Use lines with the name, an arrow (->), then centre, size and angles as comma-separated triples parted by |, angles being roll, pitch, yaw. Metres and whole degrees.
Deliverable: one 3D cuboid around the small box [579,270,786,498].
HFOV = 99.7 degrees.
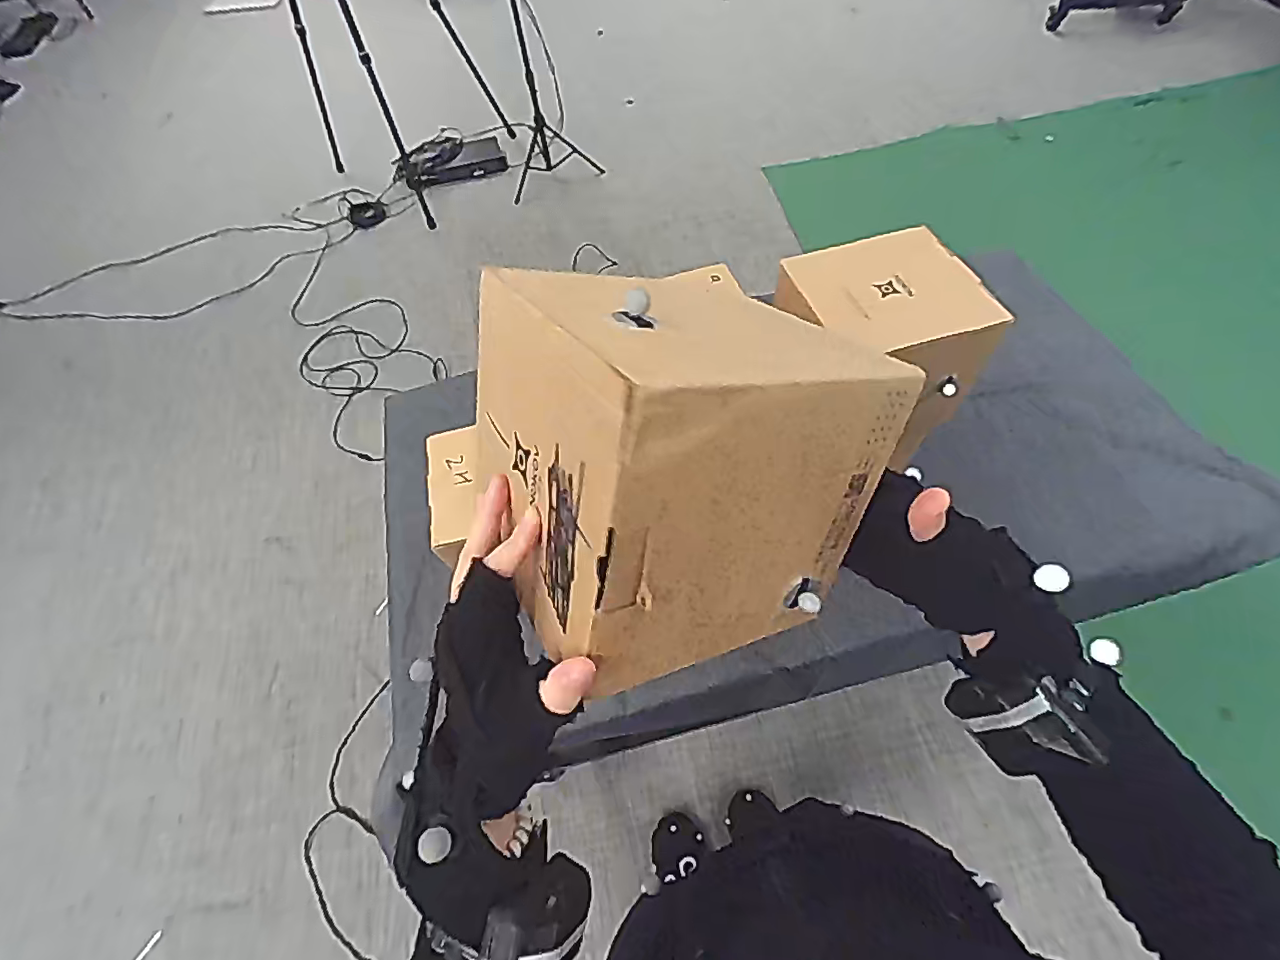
small box -> 0.046, -0.102, 0.623 | 0.179, 0.176, 0.168 | -18, 60, -5
